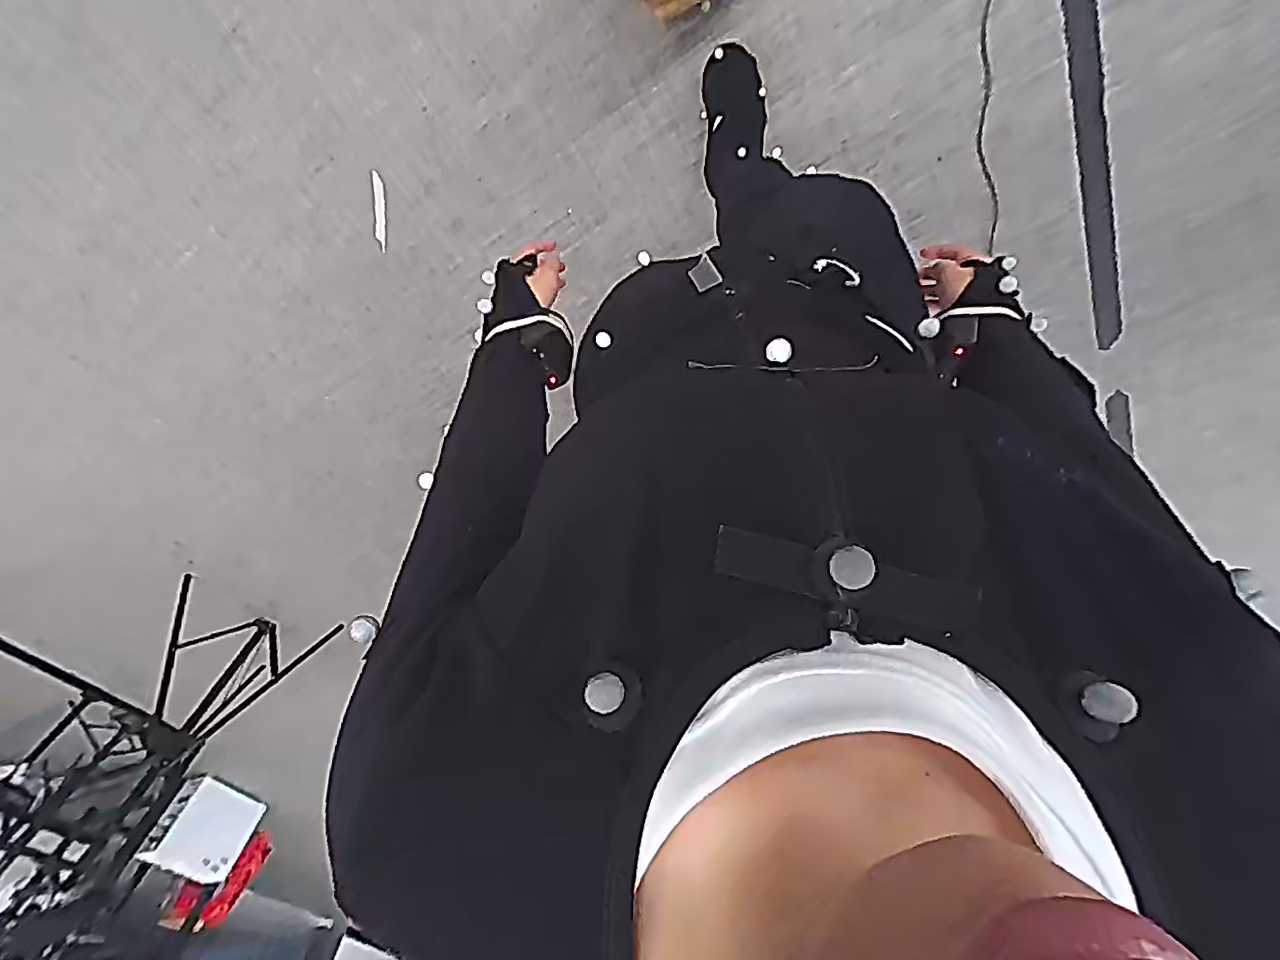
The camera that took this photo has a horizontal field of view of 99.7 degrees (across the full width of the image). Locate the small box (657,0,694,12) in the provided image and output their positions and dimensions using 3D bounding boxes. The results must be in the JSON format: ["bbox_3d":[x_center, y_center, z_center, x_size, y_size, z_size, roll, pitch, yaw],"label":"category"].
[{"bbox_3d":[0.077,-0.858,0.824,0.168,0.176,0.179,-17,126,19],"label":"small box"}]
